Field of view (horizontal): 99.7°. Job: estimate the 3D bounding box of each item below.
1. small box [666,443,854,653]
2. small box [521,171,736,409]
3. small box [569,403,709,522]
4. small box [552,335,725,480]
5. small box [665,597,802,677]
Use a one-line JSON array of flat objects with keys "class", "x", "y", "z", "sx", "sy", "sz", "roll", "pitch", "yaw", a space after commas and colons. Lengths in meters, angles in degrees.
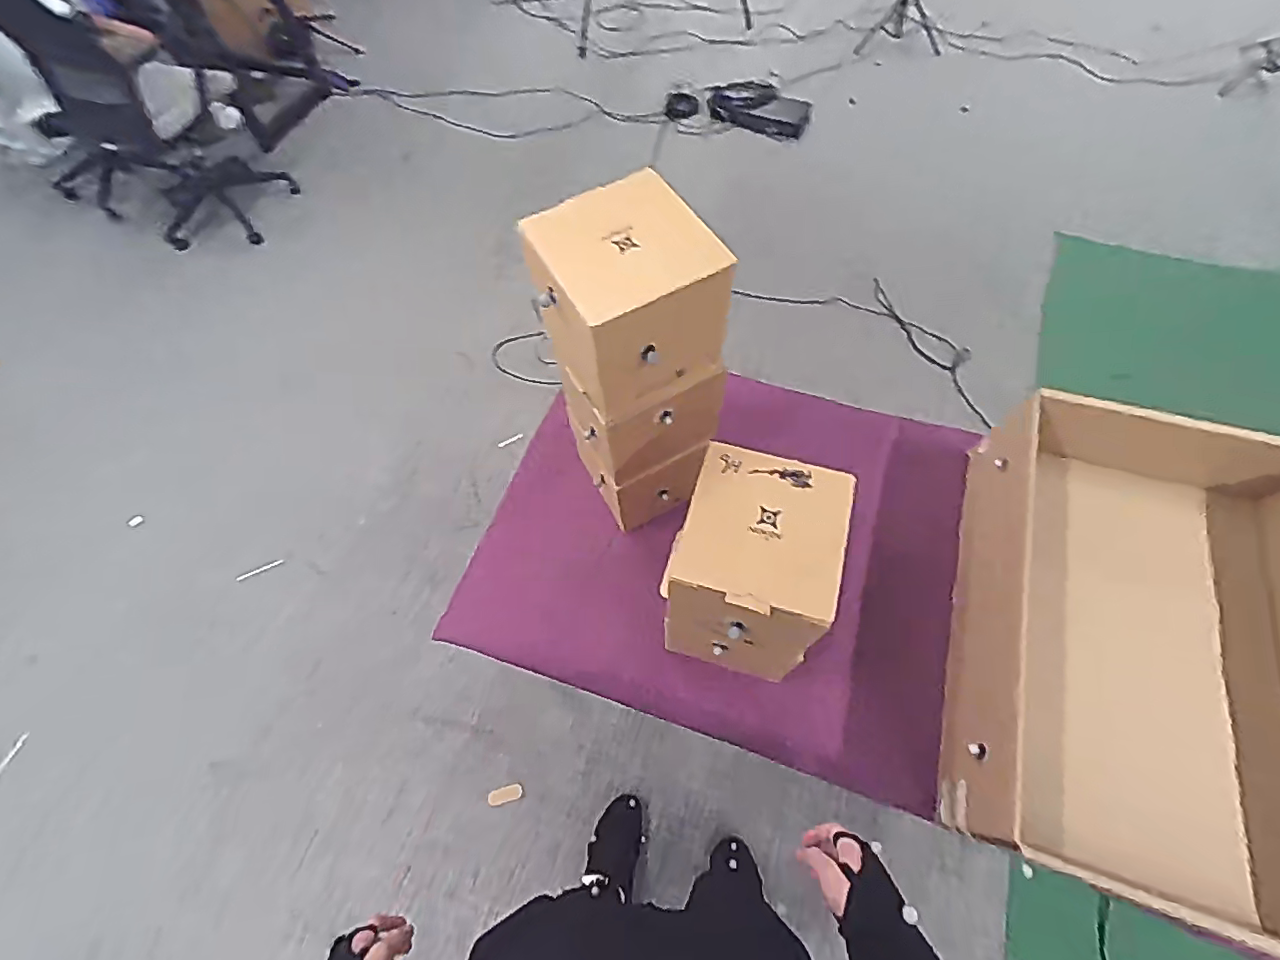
[{"class": "small box", "x": 0.135, "y": 0.087, "z": 0.640, "sx": 0.168, "sy": 0.176, "sz": 0.179, "roll": 16, "pitch": 63, "yaw": 10}, {"class": "small box", "x": -0.011, "y": -0.205, "z": 0.621, "sx": 0.168, "sy": 0.176, "sz": 0.179, "roll": -28, "pitch": 65, "yaw": -11}, {"class": "small box", "x": 0.000, "y": -0.049, "z": 0.906, "sx": 0.168, "sy": 0.176, "sz": 0.179, "roll": -26, "pitch": 64, "yaw": -11}, {"class": "small box", "x": -0.001, "y": -0.127, "z": 0.763, "sx": 0.179, "sy": 0.176, "sz": 0.168, "roll": -26, "pitch": 65, "yaw": -11}, {"class": "small box", "x": 0.141, "y": 0.171, "z": 0.781, "sx": 0.179, "sy": 0.176, "sz": 0.168, "roll": 14, "pitch": 63, "yaw": 10}]
